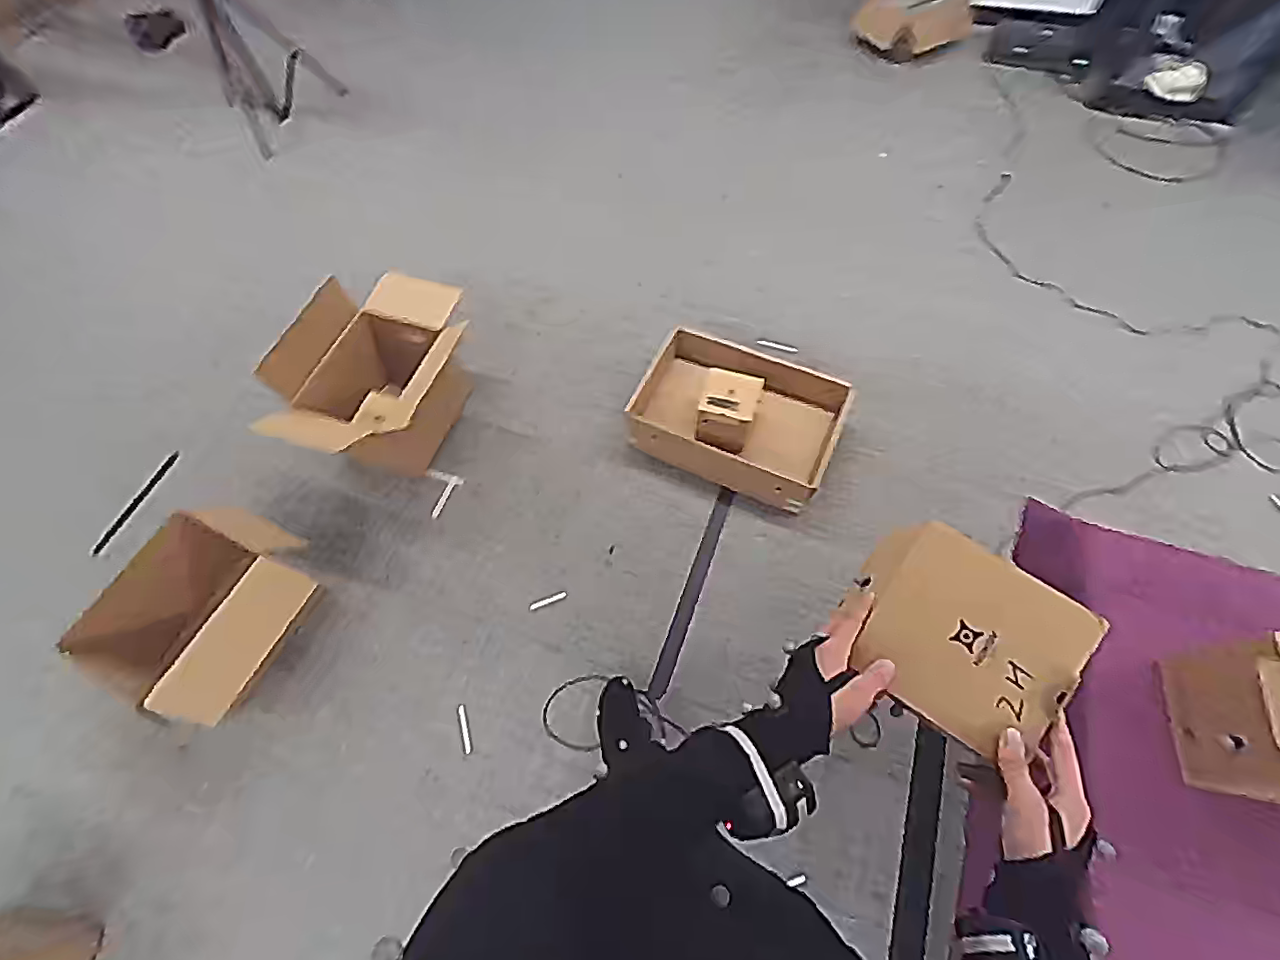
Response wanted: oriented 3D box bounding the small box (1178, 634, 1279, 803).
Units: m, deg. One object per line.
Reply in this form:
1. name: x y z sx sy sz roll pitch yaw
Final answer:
1. small box: 0.807 0.300 0.649 0.179 0.176 0.168 10 65 8

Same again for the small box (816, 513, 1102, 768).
1. small box: 0.311 0.158 0.574 0.179 0.176 0.168 33 86 13
